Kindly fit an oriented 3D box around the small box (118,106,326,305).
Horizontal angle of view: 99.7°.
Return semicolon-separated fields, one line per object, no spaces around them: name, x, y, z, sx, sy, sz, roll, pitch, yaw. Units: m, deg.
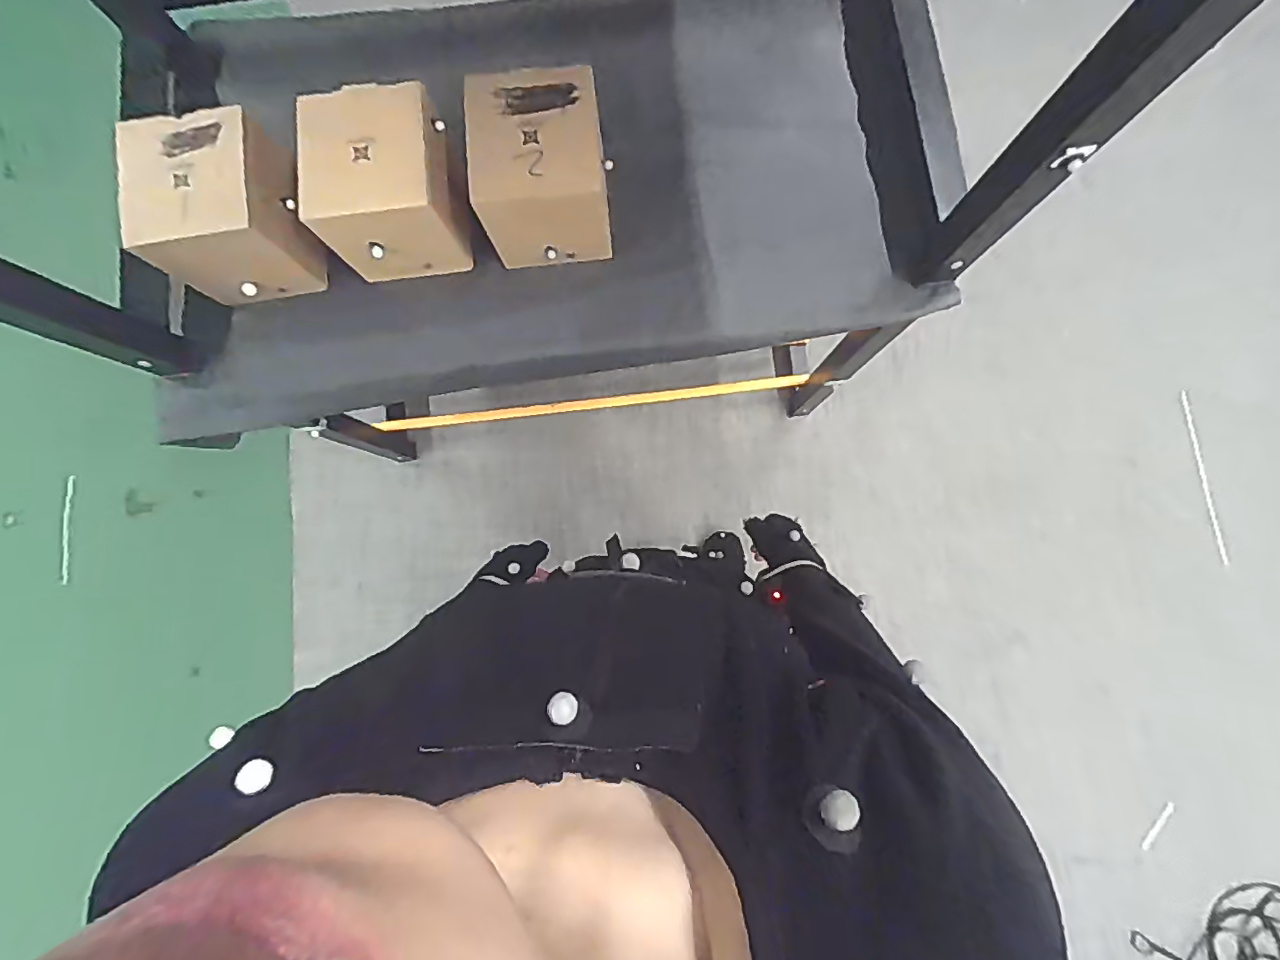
small box;-0.572;-0.372;0.759;0.168;0.176;0.179;-9;83;1

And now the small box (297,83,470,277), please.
small box;-0.347;-0.403;0.758;0.168;0.176;0.179;-6;82;1
